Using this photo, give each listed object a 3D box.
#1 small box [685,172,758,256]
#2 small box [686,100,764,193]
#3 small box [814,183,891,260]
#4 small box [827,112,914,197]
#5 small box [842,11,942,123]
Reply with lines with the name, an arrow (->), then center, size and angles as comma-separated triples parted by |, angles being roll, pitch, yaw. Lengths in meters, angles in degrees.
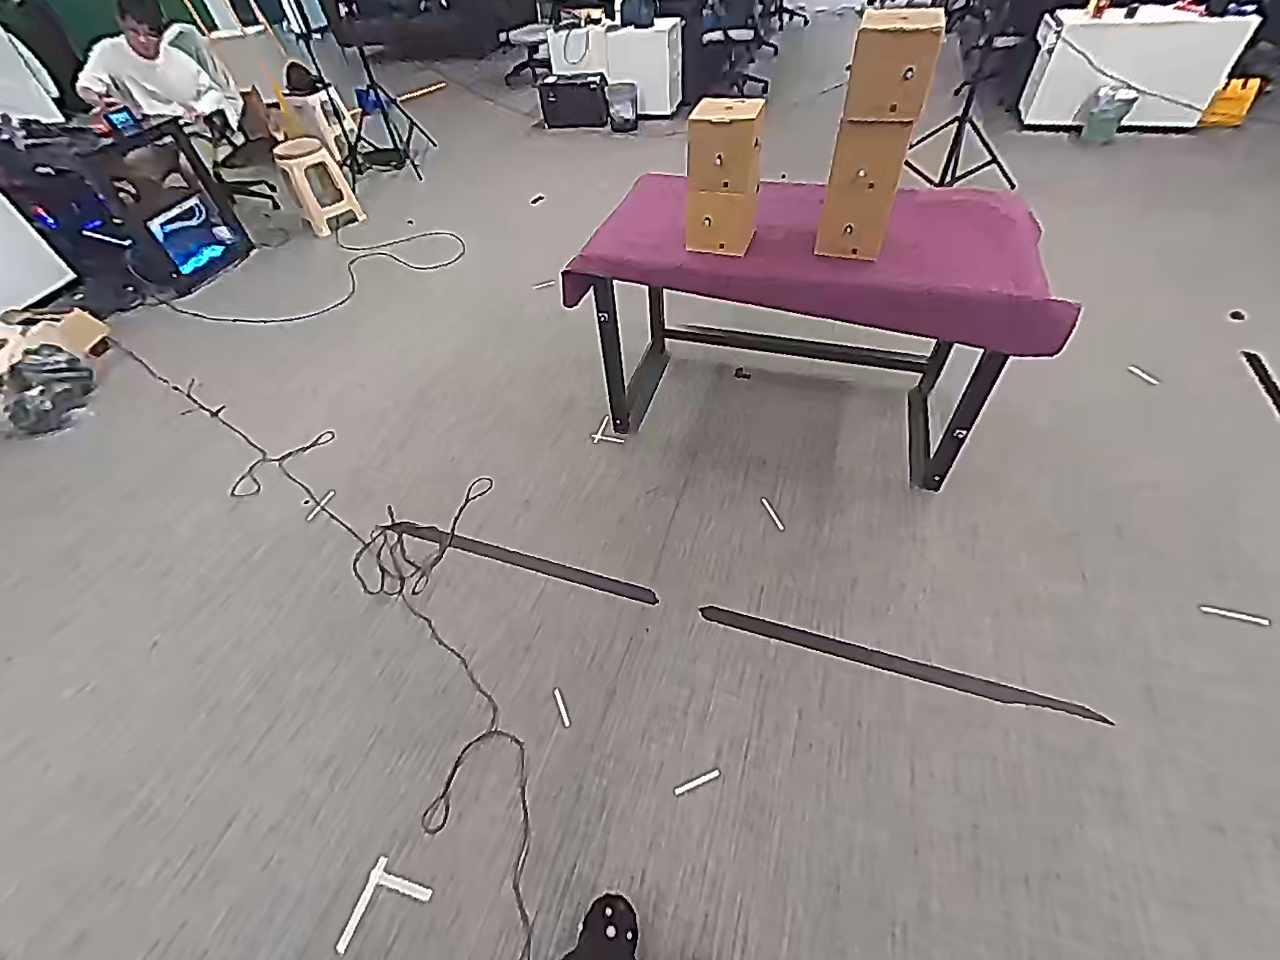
small box -> 0.230, -0.752, 1.524 | 0.168, 0.176, 0.179 | 13, 50, 15
small box -> 0.220, -0.865, 1.405 | 0.168, 0.176, 0.179 | 11, 51, 13
small box -> 0.578, -0.718, 1.462 | 0.168, 0.176, 0.179 | 14, 52, 16
small box -> 0.571, -0.827, 1.340 | 0.168, 0.176, 0.179 | 14, 52, 17
small box -> 0.555, -0.916, 1.204 | 0.168, 0.176, 0.179 | 12, 51, 14
